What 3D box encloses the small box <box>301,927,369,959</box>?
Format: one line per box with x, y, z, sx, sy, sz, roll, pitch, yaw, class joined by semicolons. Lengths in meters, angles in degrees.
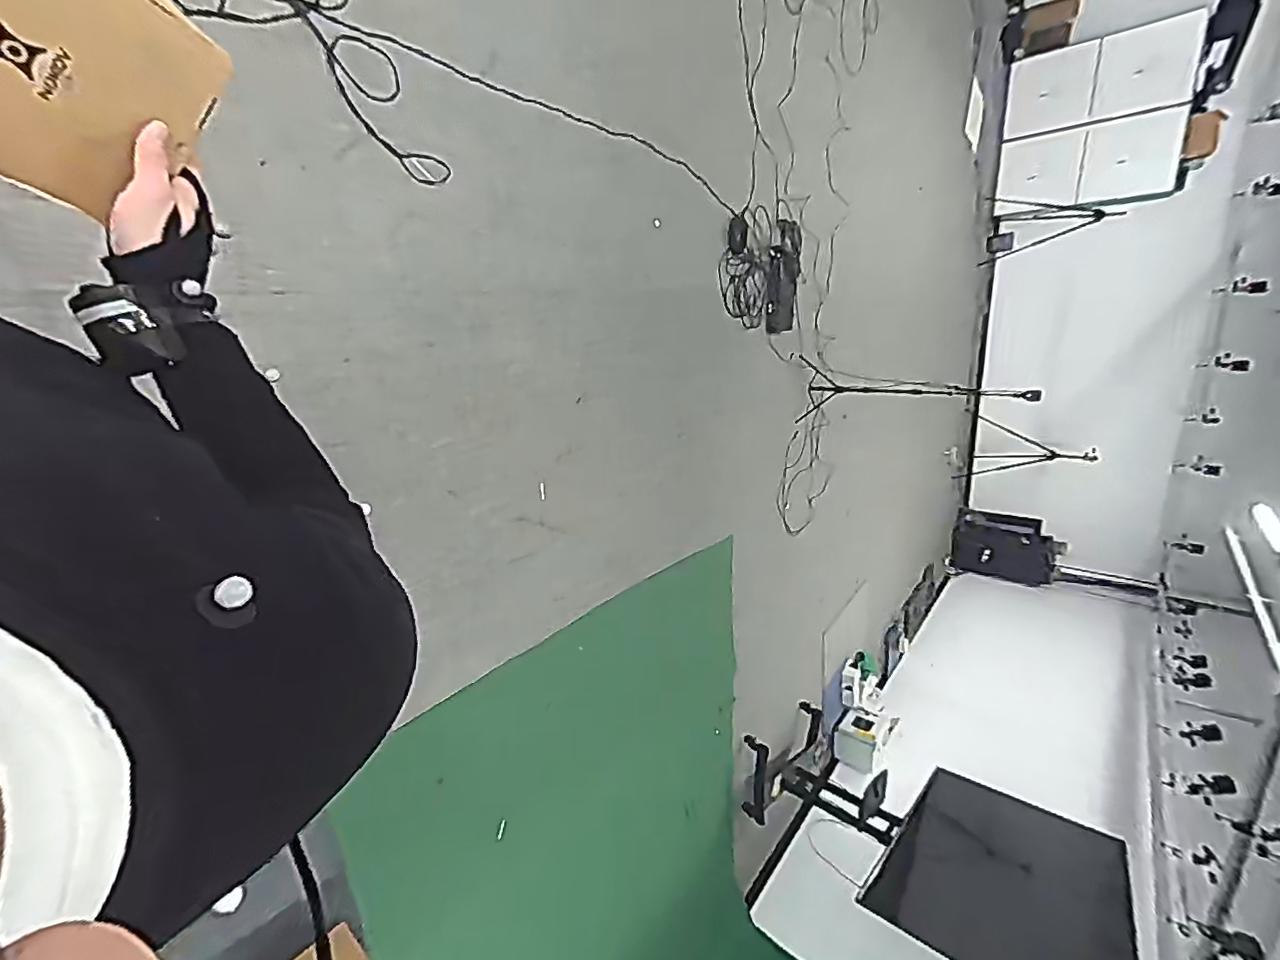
-0.493;0.859;0.824;0.179;0.176;0.168;-17;113;-48;small box

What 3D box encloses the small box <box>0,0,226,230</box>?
-0.459;-0.328;0.388;0.168;0.176;0.179;-52;155;9;small box
